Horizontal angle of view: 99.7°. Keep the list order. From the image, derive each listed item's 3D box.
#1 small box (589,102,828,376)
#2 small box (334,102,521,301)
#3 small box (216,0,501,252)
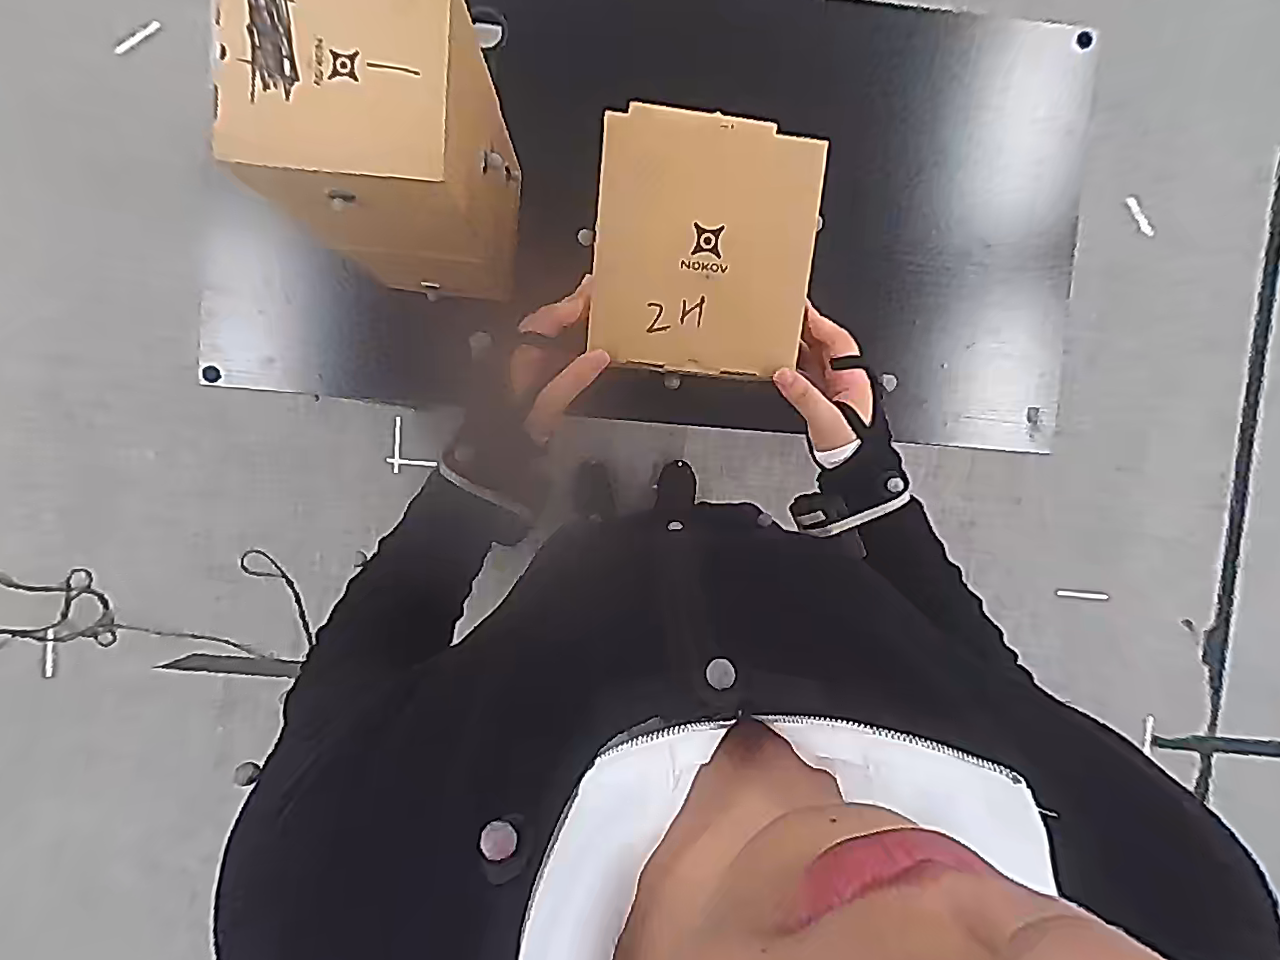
[{"bbox_3d":[0.045,-0.190,0.481,0.168,0.176,0.179,5,100,-4],"label":"small box"},{"bbox_3d":[-0.244,-0.335,0.657,0.168,0.176,0.179,4,94,-2],"label":"small box"},{"bbox_3d":[-0.236,-0.324,0.493,0.179,0.176,0.168,3,93,-3],"label":"small box"}]
